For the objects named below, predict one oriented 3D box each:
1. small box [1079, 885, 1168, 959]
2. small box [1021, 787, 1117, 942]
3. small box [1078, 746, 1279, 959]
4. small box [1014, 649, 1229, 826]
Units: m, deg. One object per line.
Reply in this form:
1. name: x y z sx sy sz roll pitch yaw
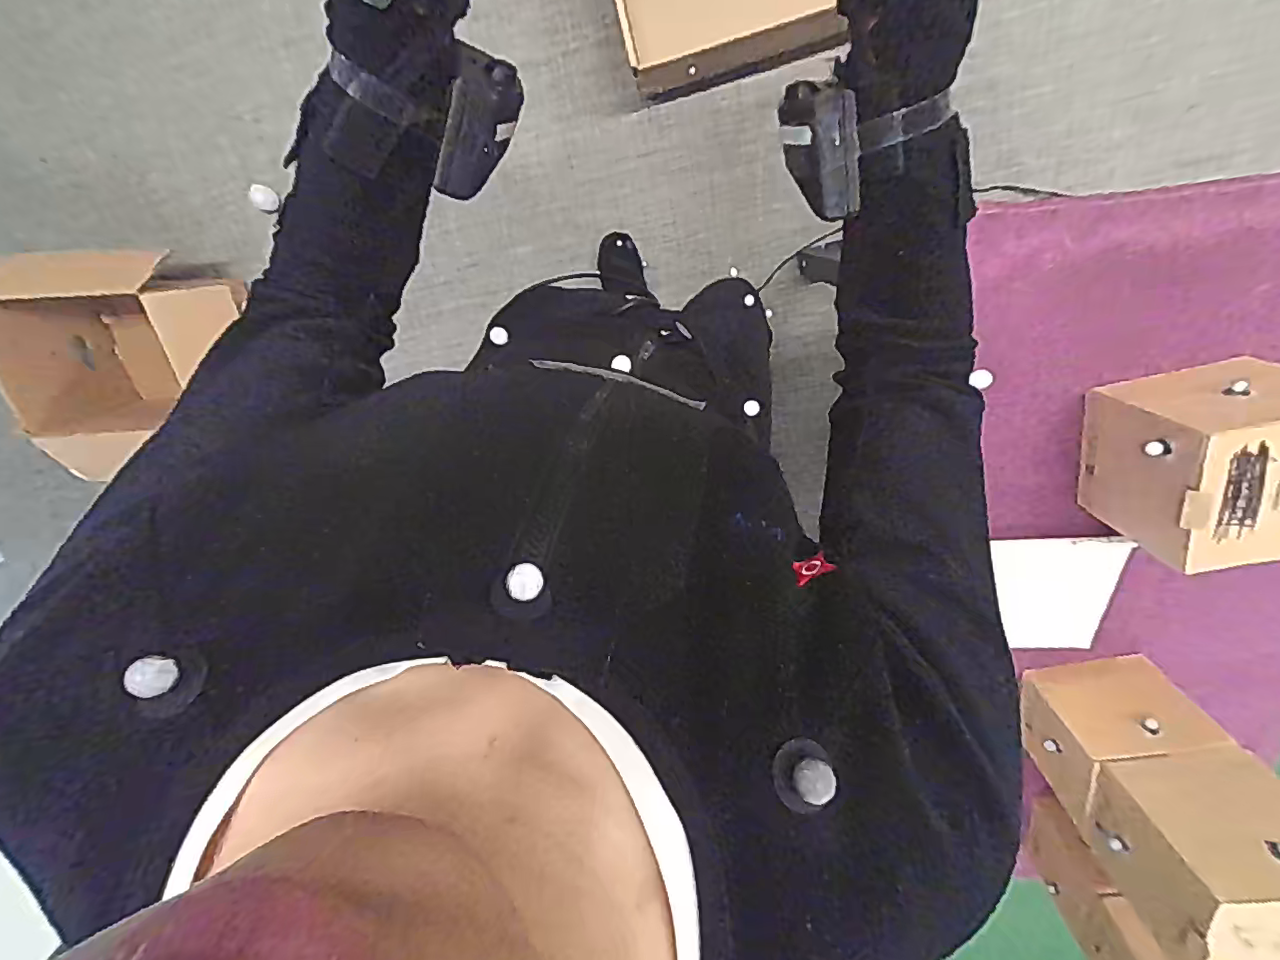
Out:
1. small box: 0.794 0.724 0.790 0.179 0.176 0.168 -8 116 8
2. small box: 0.803 0.658 0.940 0.179 0.176 0.168 -9 115 7
3. small box: 0.699 0.454 0.666 0.179 0.176 0.168 -9 115 7
4. small box: 0.700 0.382 0.814 0.179 0.176 0.168 -12 114 8
